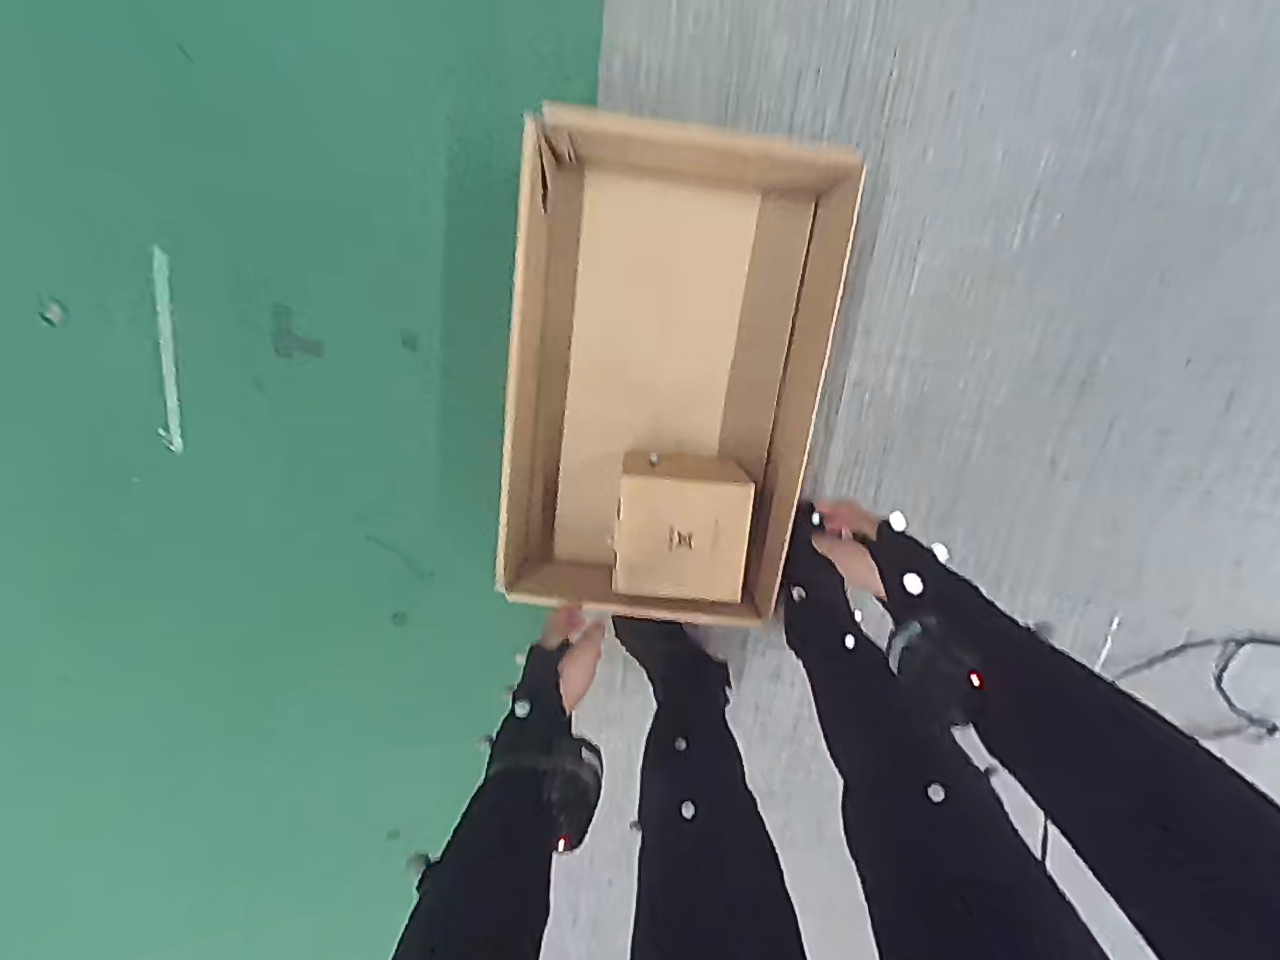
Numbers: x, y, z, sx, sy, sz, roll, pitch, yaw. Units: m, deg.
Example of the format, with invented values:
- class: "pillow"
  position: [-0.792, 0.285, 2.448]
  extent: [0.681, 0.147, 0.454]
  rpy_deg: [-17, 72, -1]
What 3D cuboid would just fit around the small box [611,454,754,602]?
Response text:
- class: "small box"
  position: [0.053, 0.060, 0.785]
  extent: [0.179, 0.176, 0.168]
  rpy_deg: [4, 104, -2]
